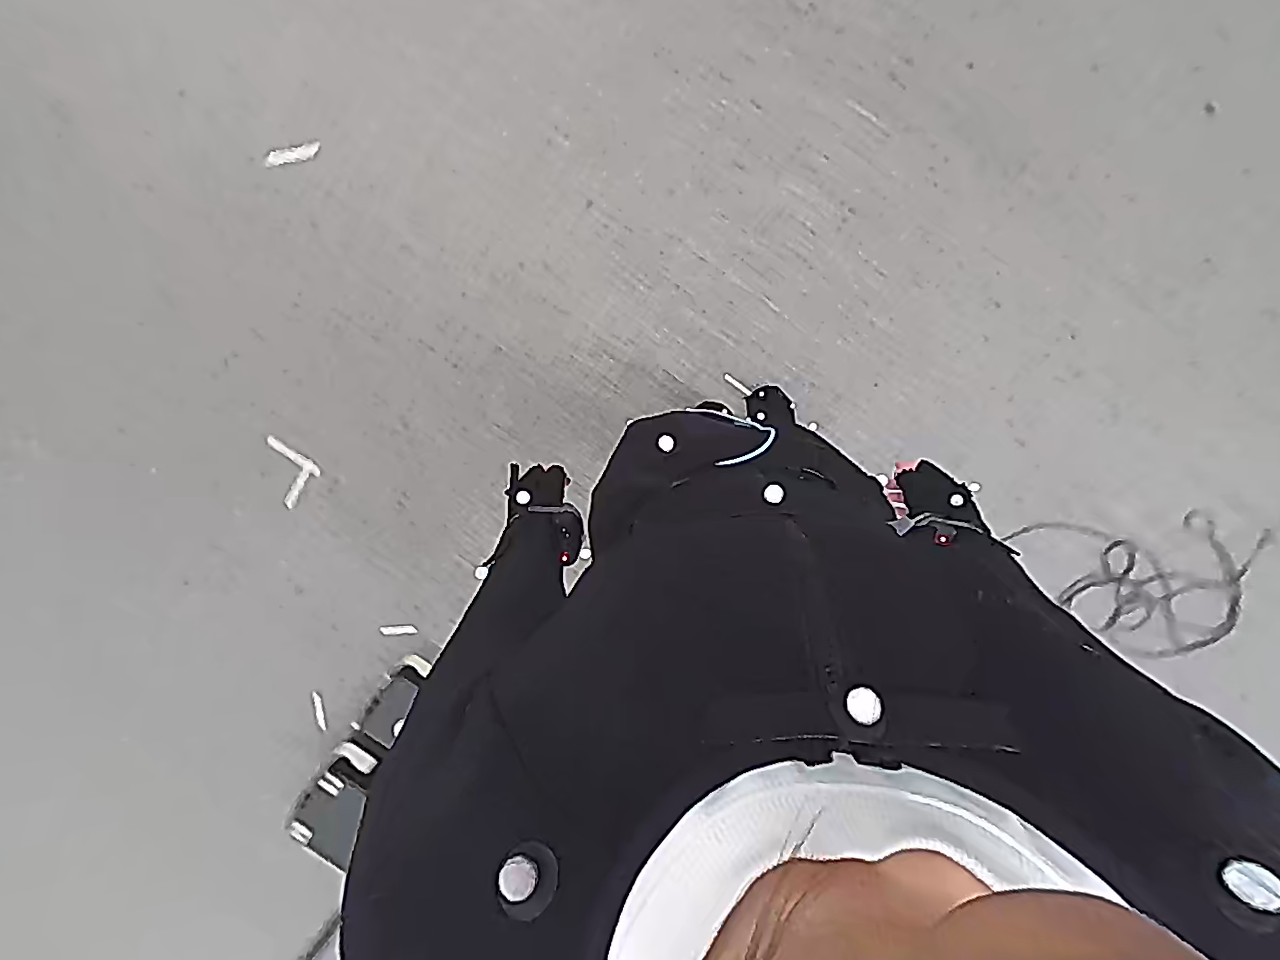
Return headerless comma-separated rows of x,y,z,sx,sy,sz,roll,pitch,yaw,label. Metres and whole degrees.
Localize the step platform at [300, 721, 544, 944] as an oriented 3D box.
-0.637,1.044,1.608,0.684,0.204,0.286,35,101,-1,step platform
